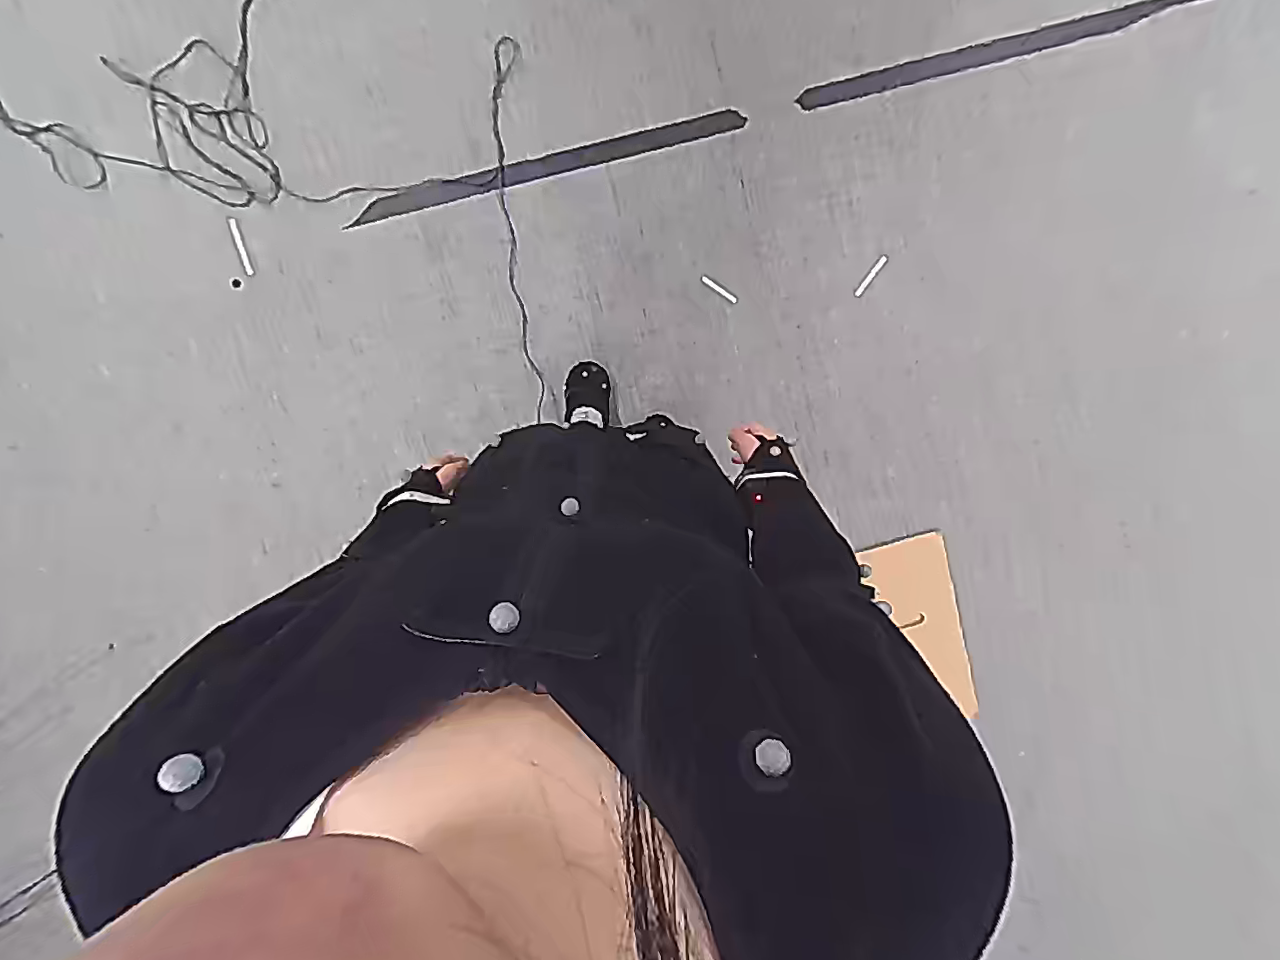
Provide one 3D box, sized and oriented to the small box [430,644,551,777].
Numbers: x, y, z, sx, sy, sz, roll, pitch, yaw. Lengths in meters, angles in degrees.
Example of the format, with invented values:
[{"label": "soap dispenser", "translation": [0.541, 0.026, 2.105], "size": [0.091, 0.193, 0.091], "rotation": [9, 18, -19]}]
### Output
[{"label": "small box", "translation": [-0.313, 0.489, 1.177], "size": [0.179, 0.176, 0.168], "rotation": [34, 96, -5]}]
